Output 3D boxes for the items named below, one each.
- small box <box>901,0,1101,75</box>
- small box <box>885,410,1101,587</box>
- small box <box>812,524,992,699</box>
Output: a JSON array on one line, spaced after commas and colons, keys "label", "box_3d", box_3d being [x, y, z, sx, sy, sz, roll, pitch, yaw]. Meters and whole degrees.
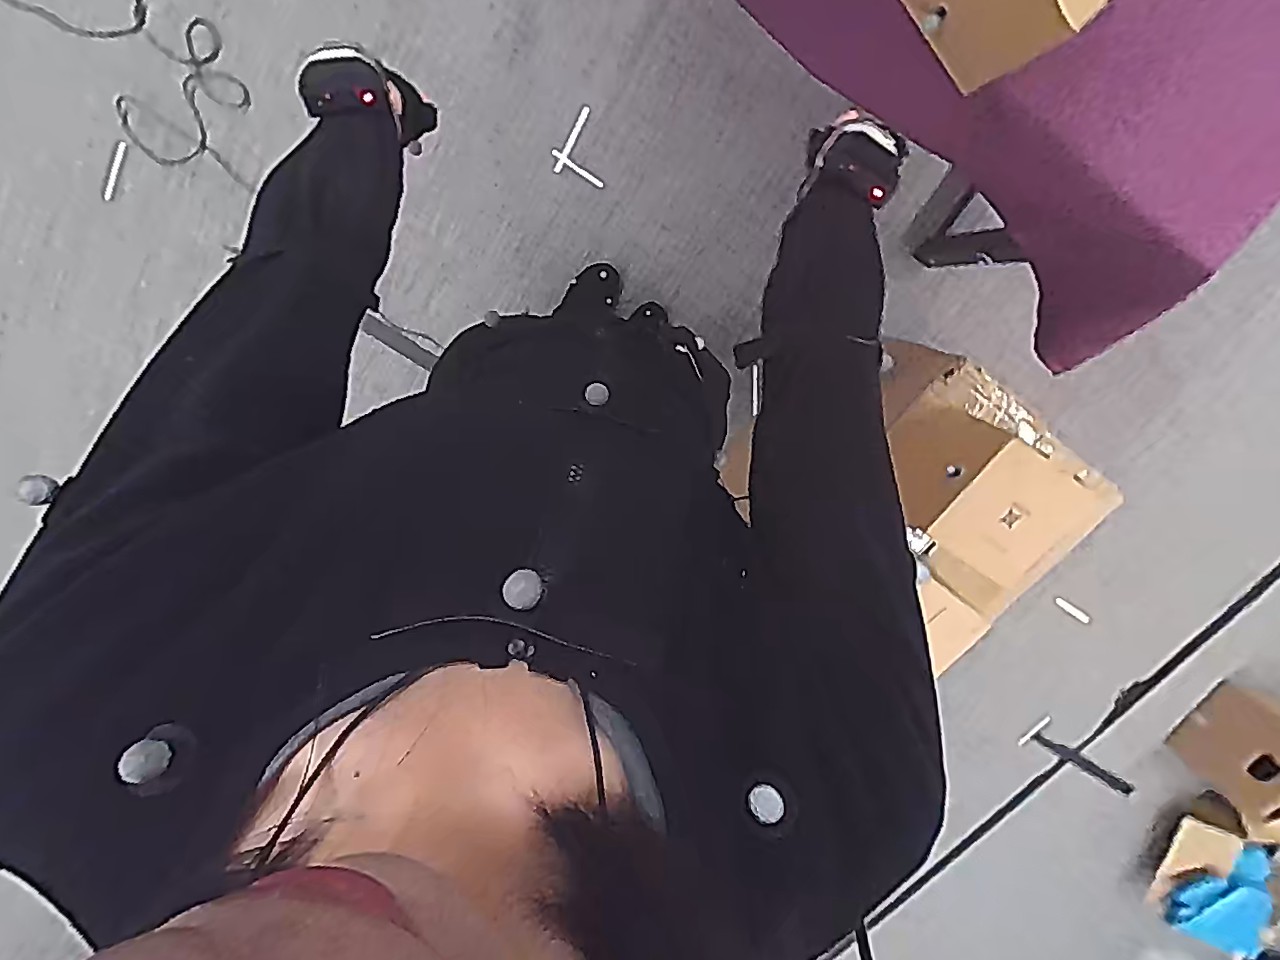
[{"label": "small box", "box_3d": [0.364, -0.526, 0.503, 0.168, 0.176, 0.179, -44, 105, 13]}, {"label": "small box", "box_3d": [0.507, 0.017, 0.809, 0.168, 0.176, 0.179, 32, 108, -9]}, {"label": "small box", "box_3d": [0.402, 0.203, 0.873, 0.168, 0.176, 0.179, 35, 104, -11]}]
